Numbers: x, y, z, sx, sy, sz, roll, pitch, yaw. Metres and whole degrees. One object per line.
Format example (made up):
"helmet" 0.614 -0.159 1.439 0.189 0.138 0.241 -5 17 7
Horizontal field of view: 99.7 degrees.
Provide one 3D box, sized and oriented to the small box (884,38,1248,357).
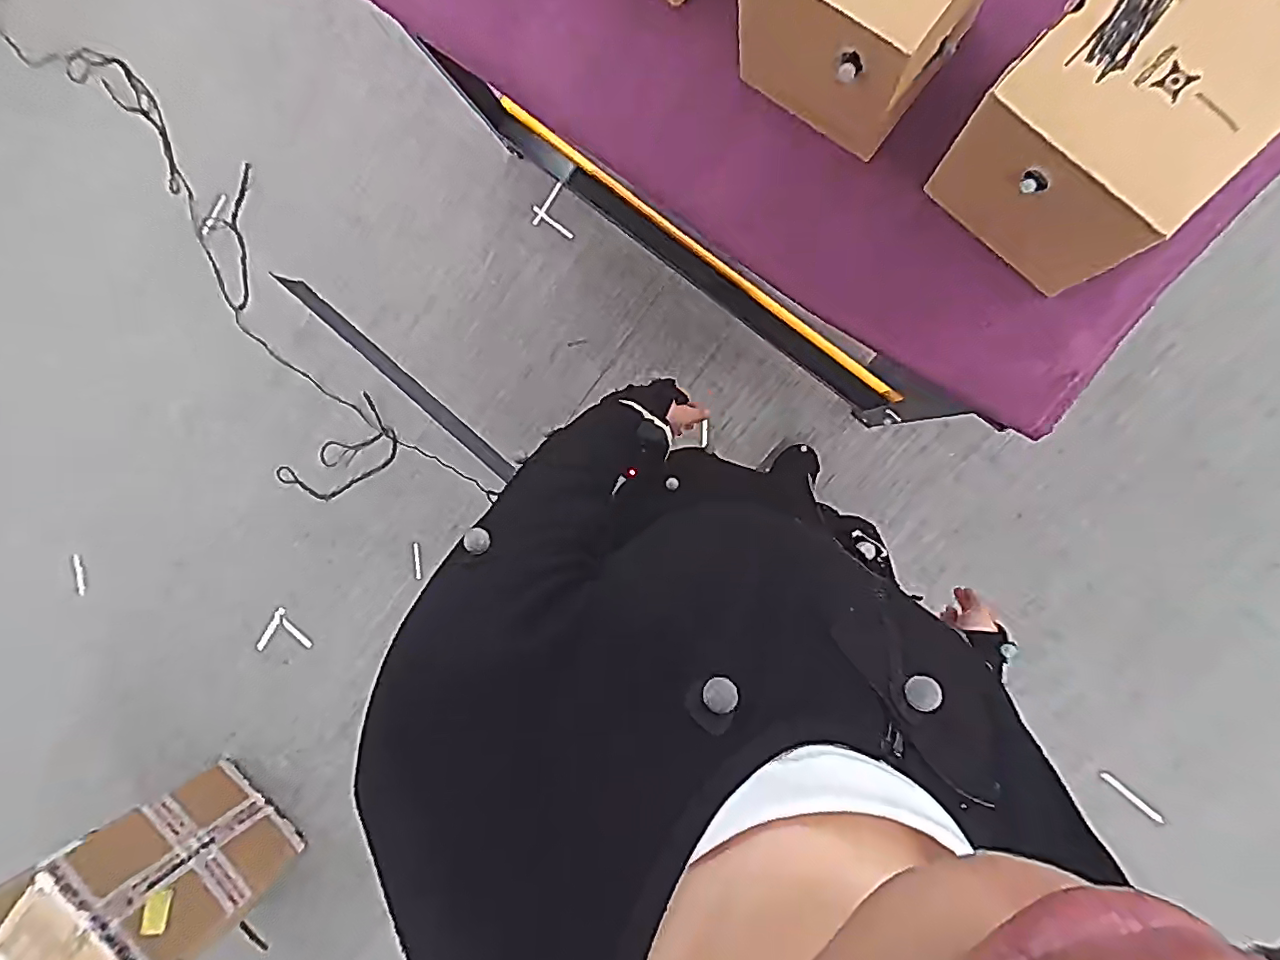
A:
"small box" 0.371 -0.244 0.518 0.168 0.176 0.179 -43 85 7
